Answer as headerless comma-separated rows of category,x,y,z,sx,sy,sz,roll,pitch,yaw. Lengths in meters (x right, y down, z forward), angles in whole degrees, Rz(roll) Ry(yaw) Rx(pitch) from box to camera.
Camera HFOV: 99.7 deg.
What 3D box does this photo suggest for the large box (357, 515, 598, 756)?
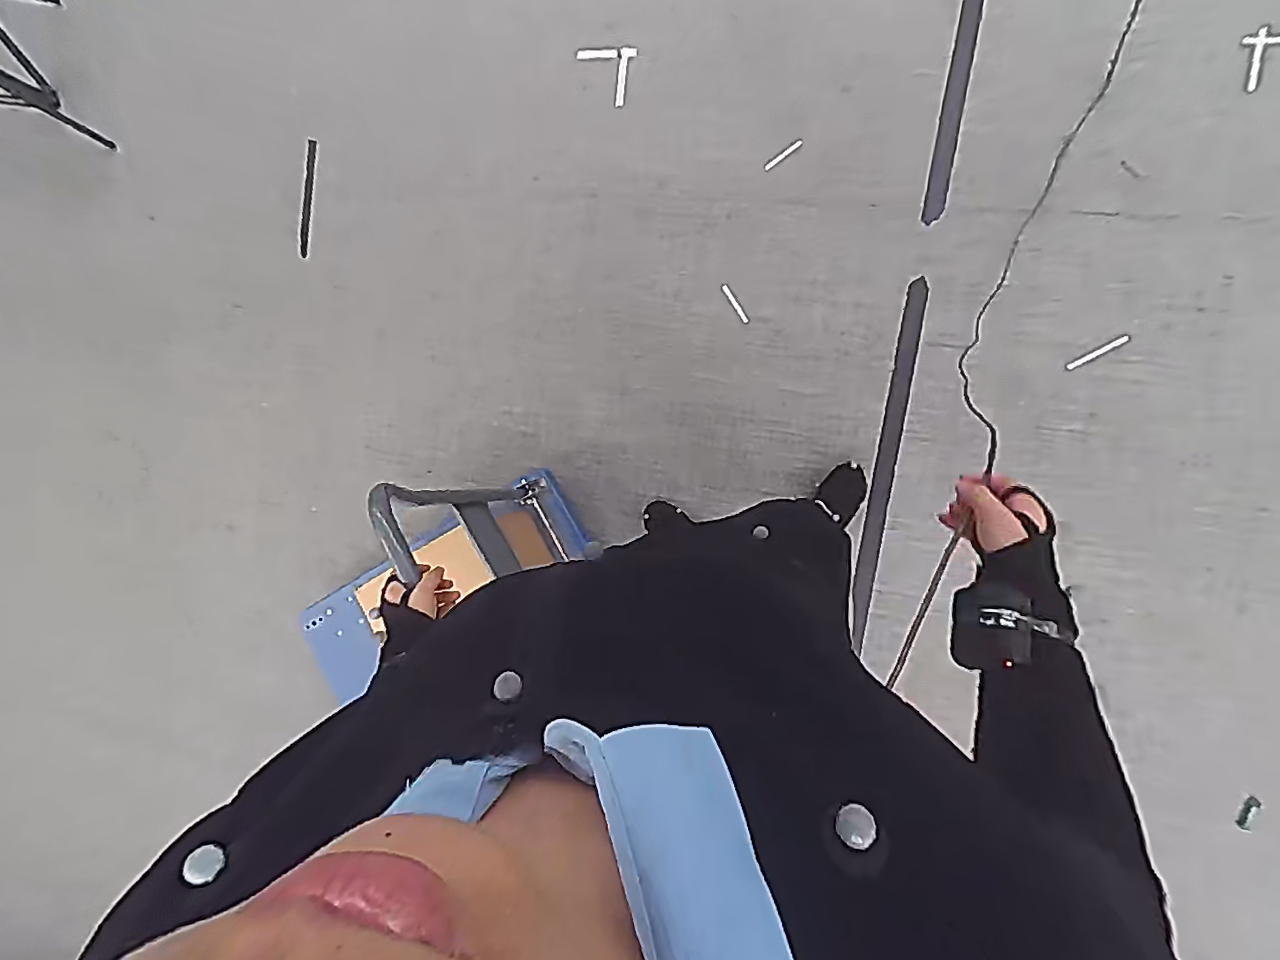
large box,-0.357,0.335,1.266,0.320,0.320,0.408,-30,84,10
